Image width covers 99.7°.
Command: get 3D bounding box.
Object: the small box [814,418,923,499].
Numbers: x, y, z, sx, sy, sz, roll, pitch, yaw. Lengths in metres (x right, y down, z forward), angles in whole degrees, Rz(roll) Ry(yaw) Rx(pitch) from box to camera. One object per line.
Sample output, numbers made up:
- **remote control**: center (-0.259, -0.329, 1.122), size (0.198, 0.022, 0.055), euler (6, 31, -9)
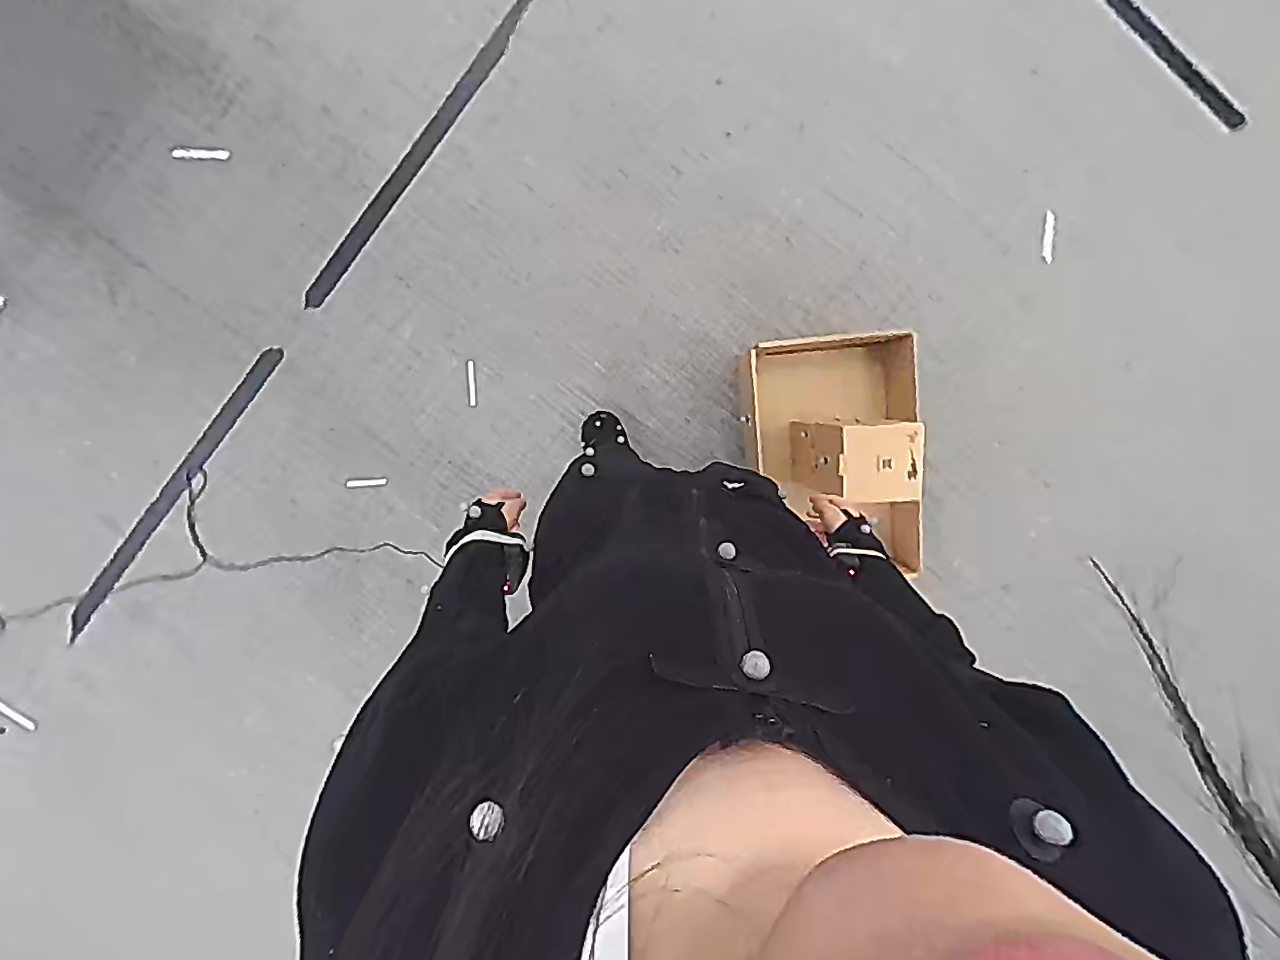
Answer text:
- **small box**: center (0.502, -0.051, 1.213), size (0.179, 0.176, 0.168), euler (-2, 99, -2)
